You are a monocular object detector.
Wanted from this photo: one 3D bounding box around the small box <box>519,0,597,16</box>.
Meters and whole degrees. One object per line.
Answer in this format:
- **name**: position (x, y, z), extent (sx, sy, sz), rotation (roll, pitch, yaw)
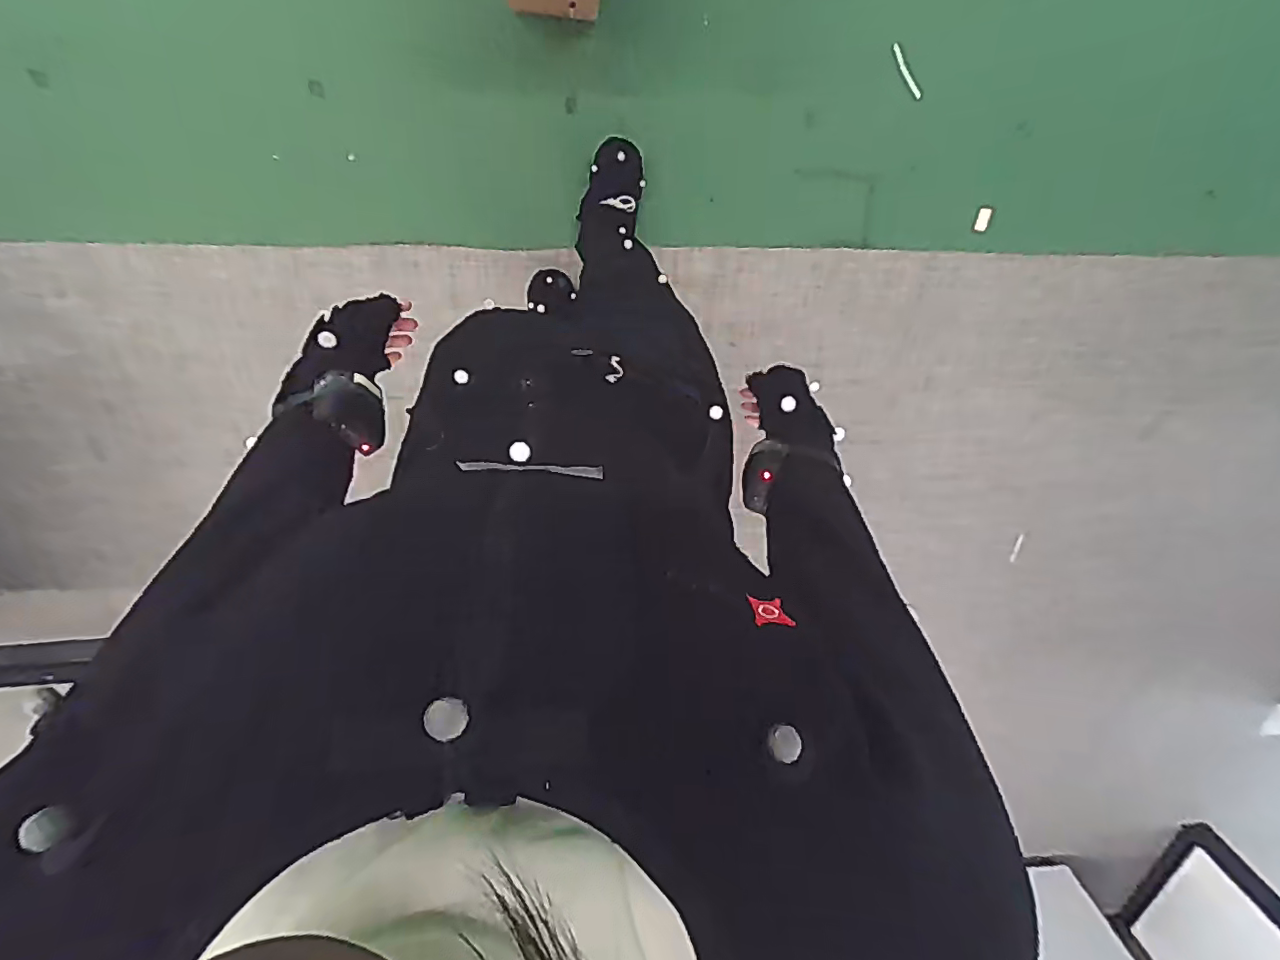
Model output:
- **small box**: position (-0.146, -0.921, 0.909), extent (0.168, 0.176, 0.179), rotation (3, 117, -10)
